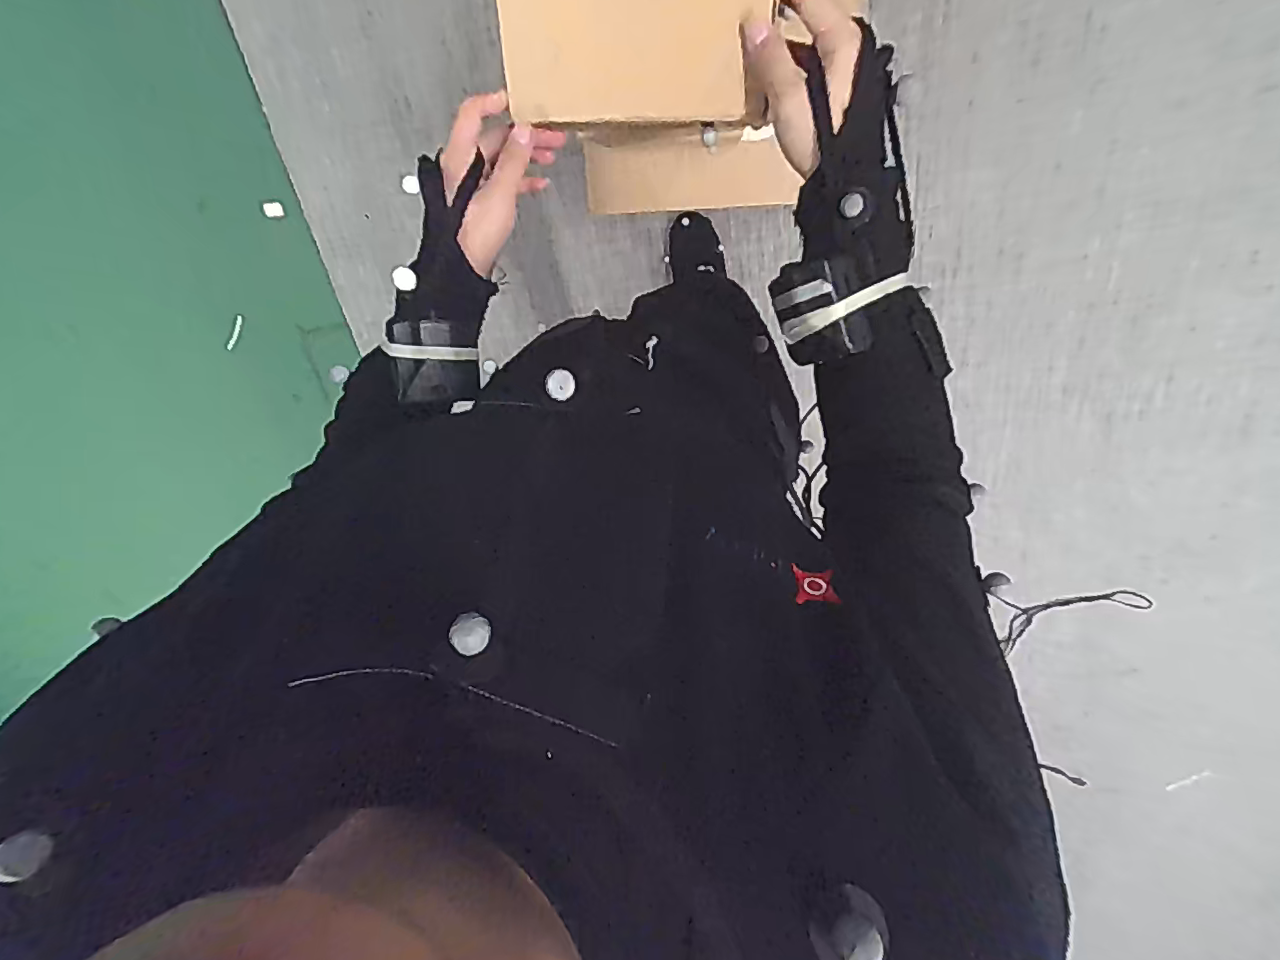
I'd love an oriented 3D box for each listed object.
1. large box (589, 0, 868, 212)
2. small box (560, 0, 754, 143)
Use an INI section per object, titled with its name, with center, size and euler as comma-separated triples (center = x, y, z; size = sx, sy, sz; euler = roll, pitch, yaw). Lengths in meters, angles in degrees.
[large box]
center = 0.131, -0.646, 0.910
size = 0.408, 0.320, 0.320
euler = 0, 120, 9
[small box]
center = 0.025, -0.460, 0.561
size = 0.179, 0.176, 0.168
euler = -2, 117, 11
